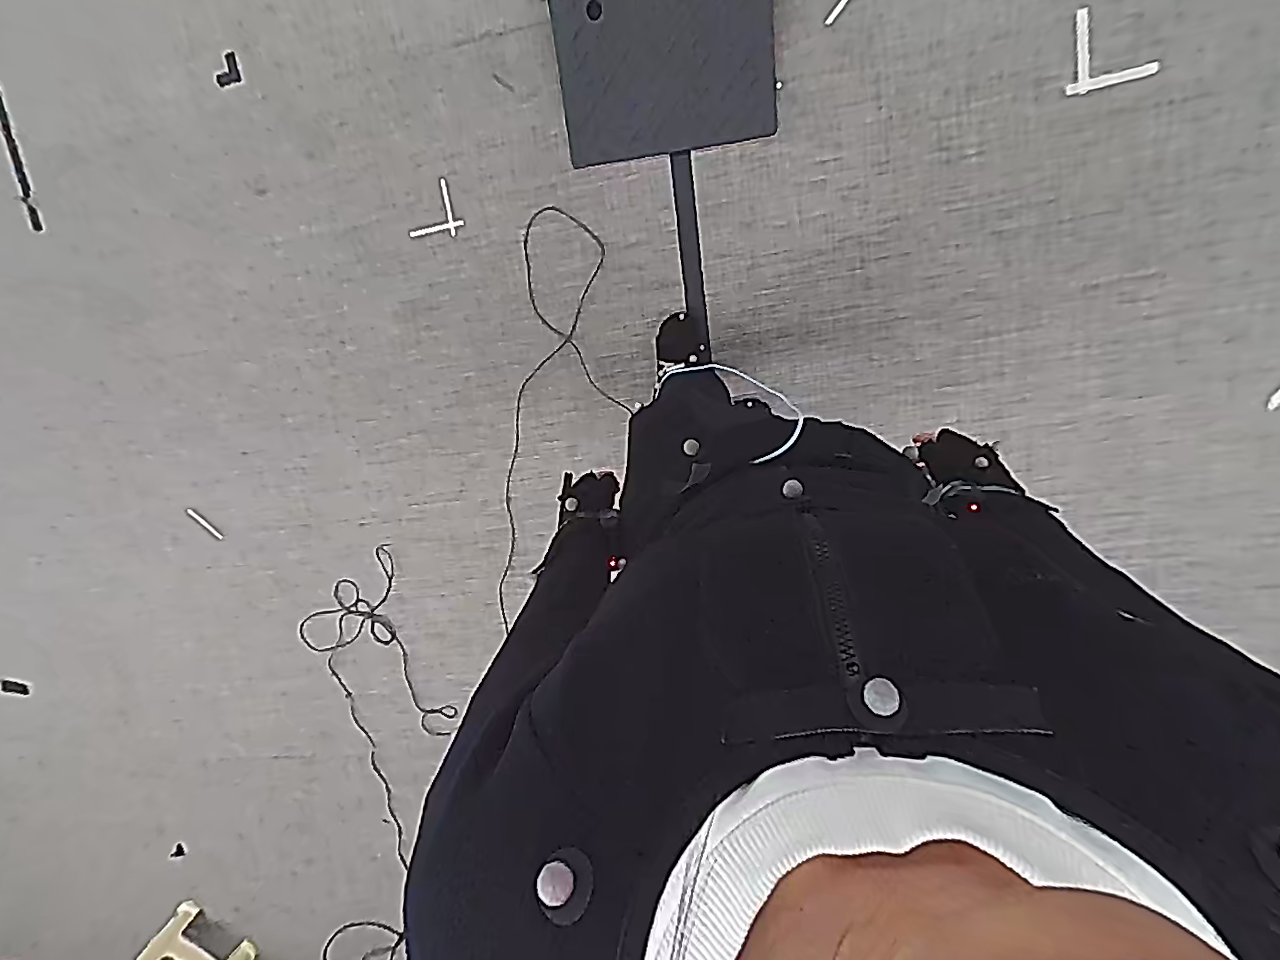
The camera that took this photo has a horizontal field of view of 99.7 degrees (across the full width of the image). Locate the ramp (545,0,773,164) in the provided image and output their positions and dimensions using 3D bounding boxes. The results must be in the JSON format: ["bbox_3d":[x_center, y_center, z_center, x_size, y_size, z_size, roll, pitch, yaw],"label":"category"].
[{"bbox_3d":[0.007,-1.245,1.097,0.509,0.206,0.991,-6,102,8],"label":"ramp"}]
